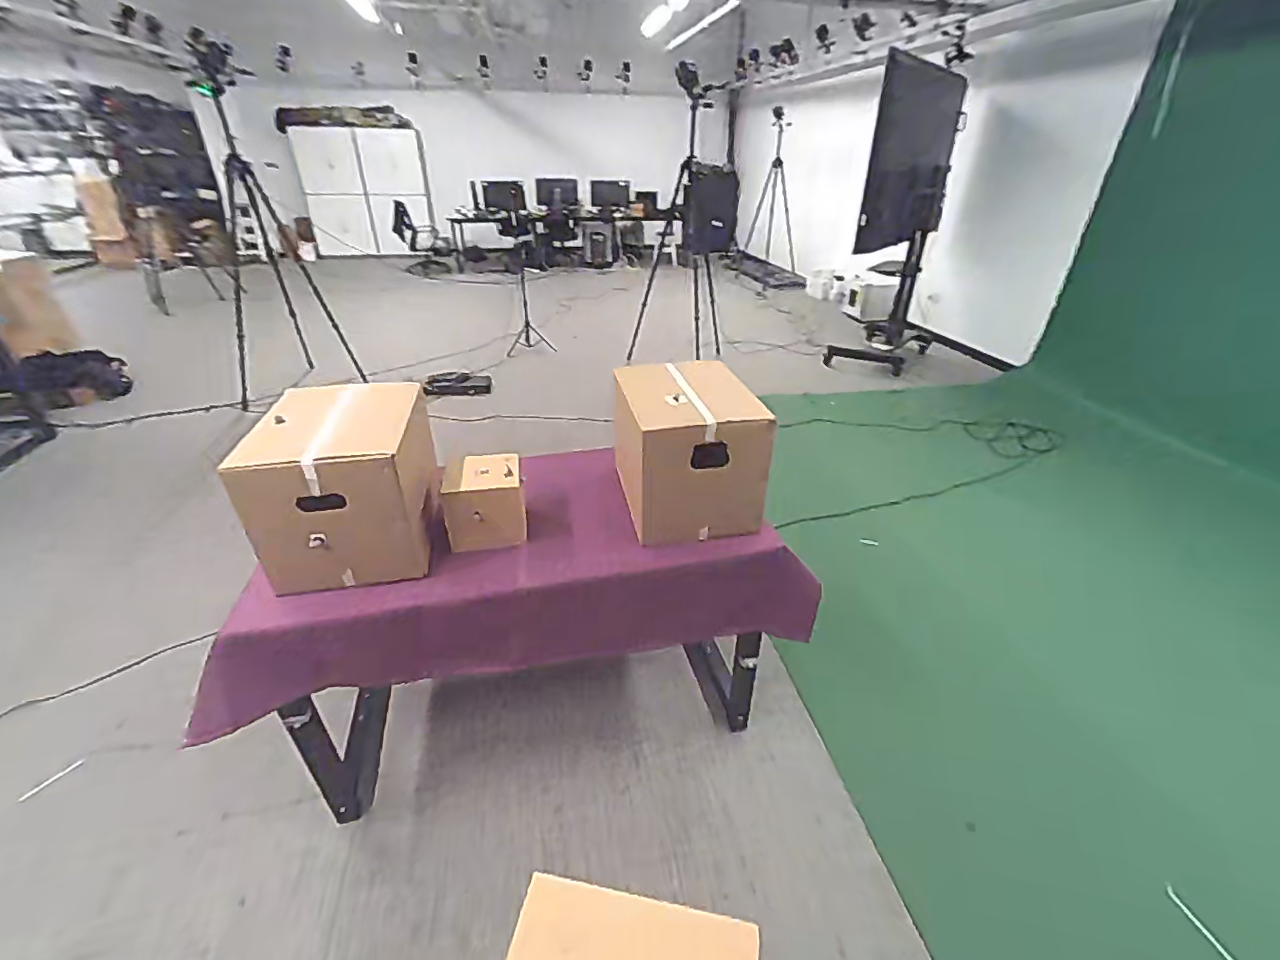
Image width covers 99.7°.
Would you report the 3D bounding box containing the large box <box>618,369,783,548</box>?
[{"bbox_3d":[0.126,-0.074,1.417,0.320,0.320,0.408,-5,32,-10],"label":"large box"}]
